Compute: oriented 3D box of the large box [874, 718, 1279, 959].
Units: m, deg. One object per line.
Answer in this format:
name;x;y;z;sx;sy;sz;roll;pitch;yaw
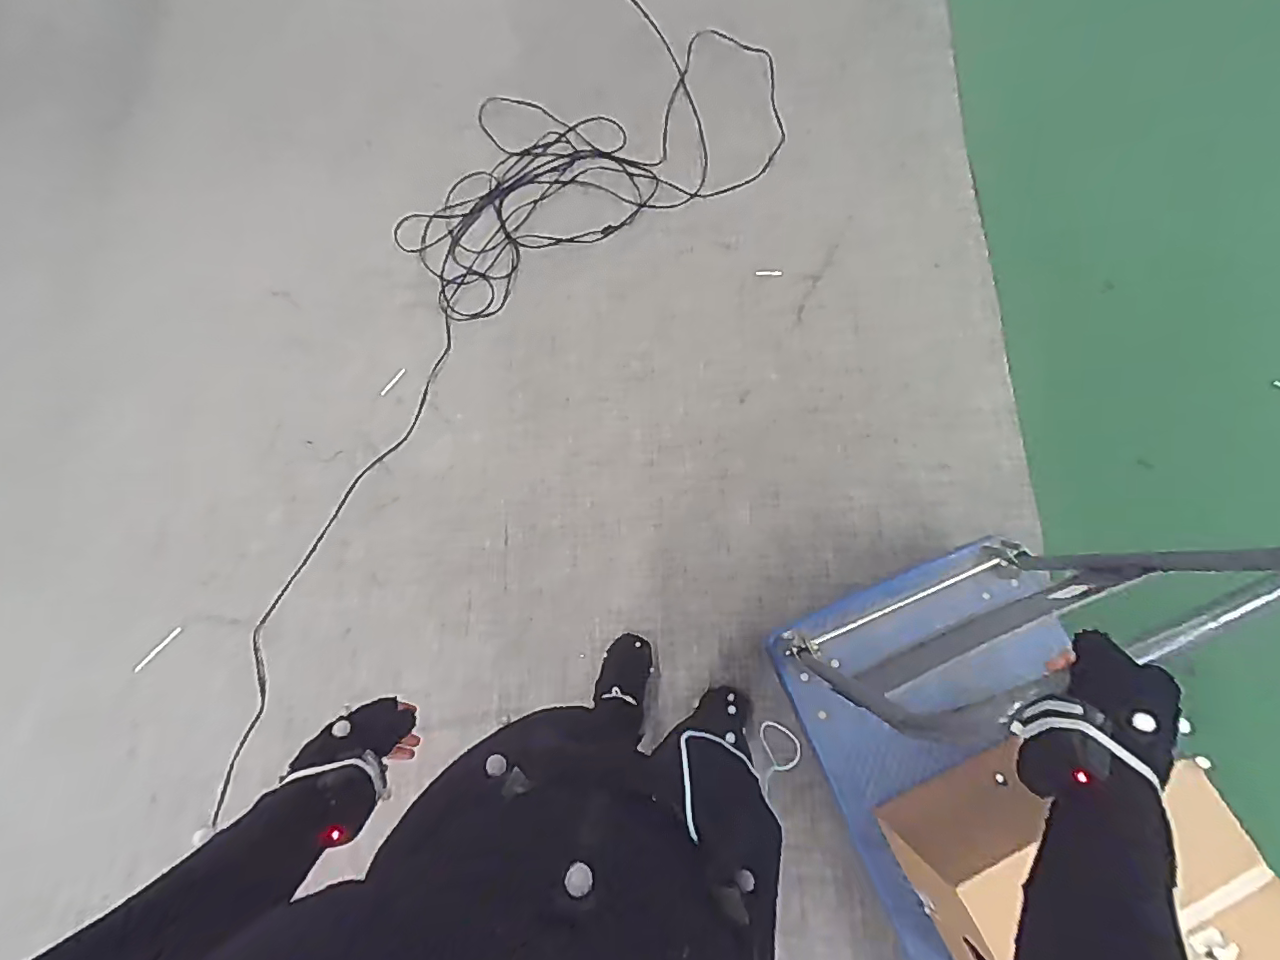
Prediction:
large box;0.685;0.652;0.883;0.408;0.320;0.320;-26;78;-5
